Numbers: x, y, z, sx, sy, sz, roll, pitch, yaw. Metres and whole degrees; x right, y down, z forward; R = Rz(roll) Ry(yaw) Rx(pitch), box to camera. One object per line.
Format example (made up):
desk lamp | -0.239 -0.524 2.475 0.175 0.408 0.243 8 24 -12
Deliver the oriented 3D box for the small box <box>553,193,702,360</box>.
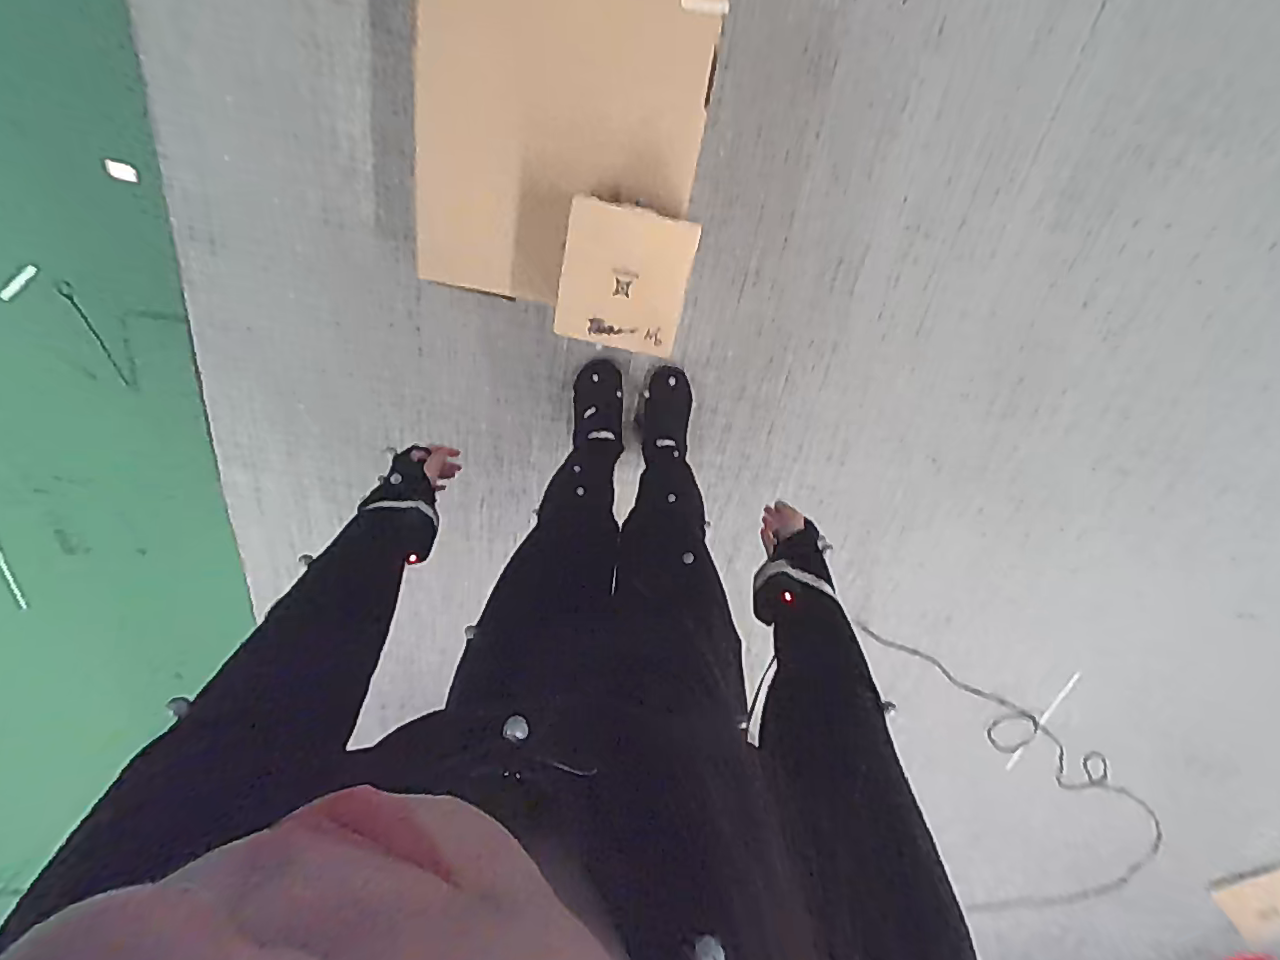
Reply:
small box | -0.022 -0.295 0.779 0.168 0.176 0.179 12 116 -7
